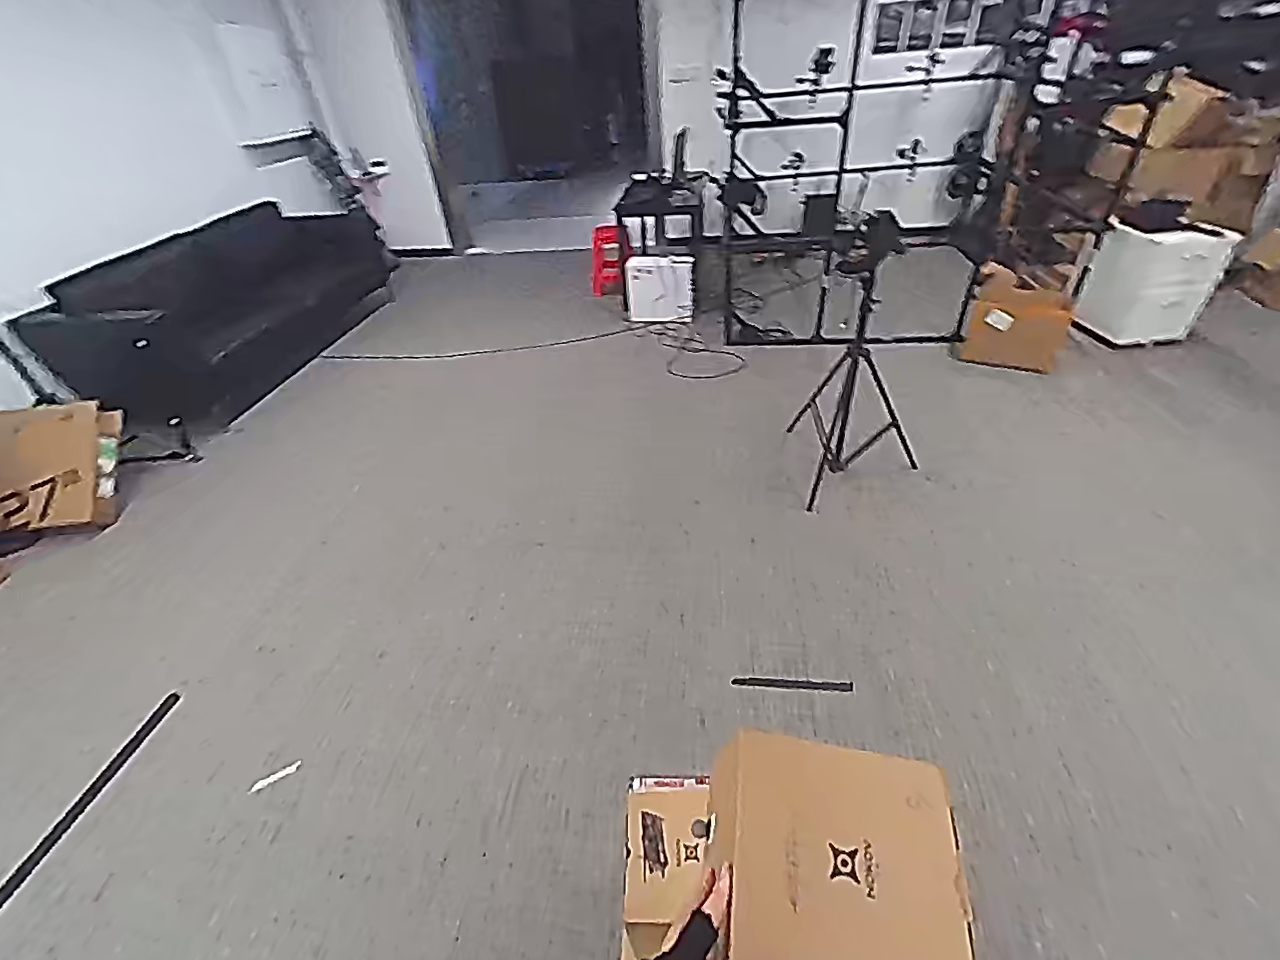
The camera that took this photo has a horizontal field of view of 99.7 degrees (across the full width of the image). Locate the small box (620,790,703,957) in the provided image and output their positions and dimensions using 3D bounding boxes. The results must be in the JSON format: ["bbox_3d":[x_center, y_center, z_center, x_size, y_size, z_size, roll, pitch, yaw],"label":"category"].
[{"bbox_3d":[0.069,0.593,0.815,0.179,0.176,0.168,-3,37,4],"label":"small box"}]

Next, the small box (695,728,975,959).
[{"bbox_3d":[0.150,0.332,0.471,0.179,0.176,0.168,7,53,2],"label":"small box"}]
